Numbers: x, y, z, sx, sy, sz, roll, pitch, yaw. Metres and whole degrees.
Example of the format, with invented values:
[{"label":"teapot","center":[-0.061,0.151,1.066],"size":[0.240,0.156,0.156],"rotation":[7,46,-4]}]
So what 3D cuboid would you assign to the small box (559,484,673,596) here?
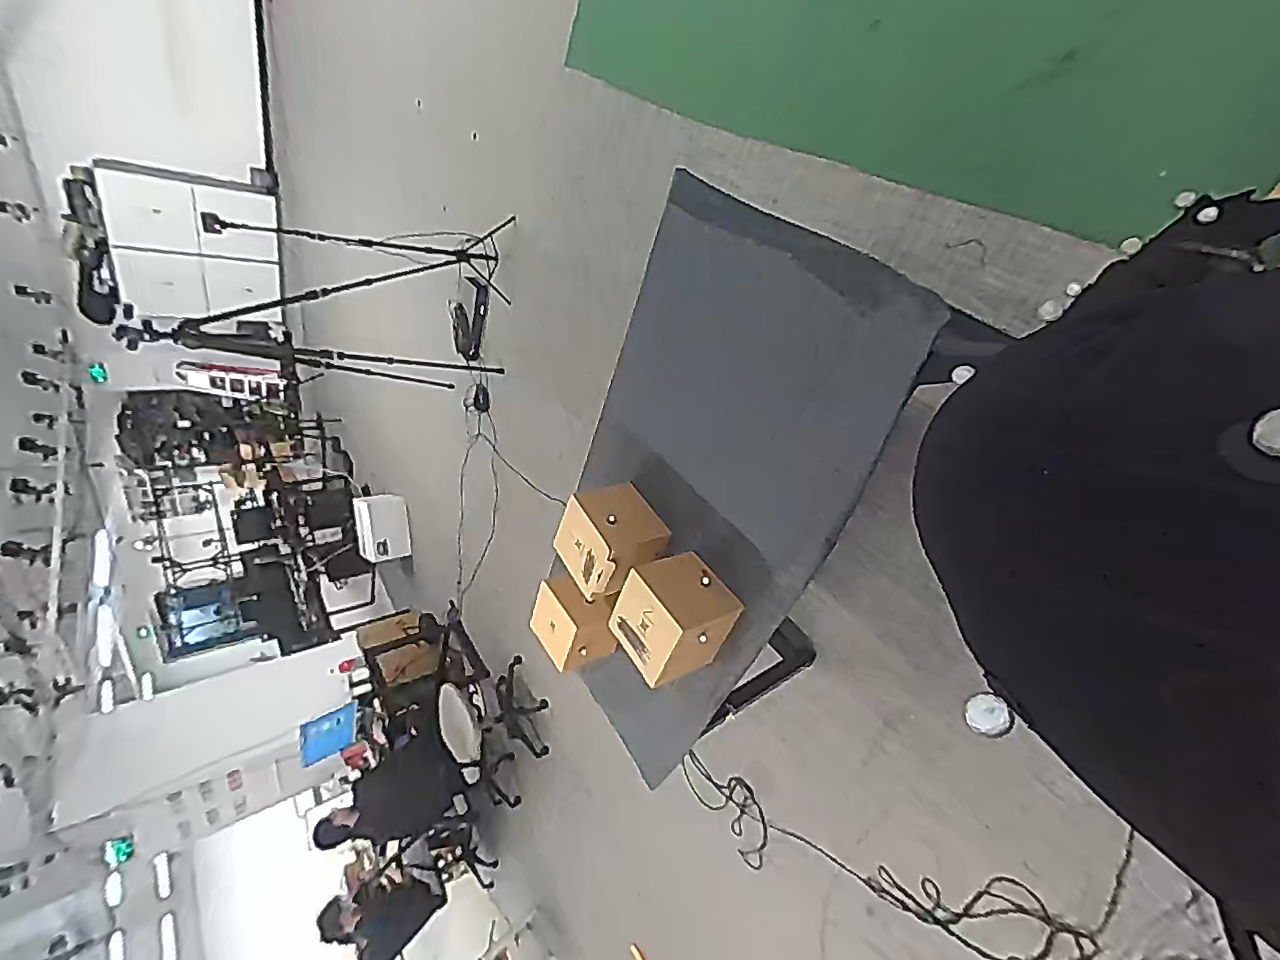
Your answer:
[{"label":"small box","center":[-0.054,0.126,1.220],"size":[0.179,0.176,0.168],"rotation":[51,133,32]}]
